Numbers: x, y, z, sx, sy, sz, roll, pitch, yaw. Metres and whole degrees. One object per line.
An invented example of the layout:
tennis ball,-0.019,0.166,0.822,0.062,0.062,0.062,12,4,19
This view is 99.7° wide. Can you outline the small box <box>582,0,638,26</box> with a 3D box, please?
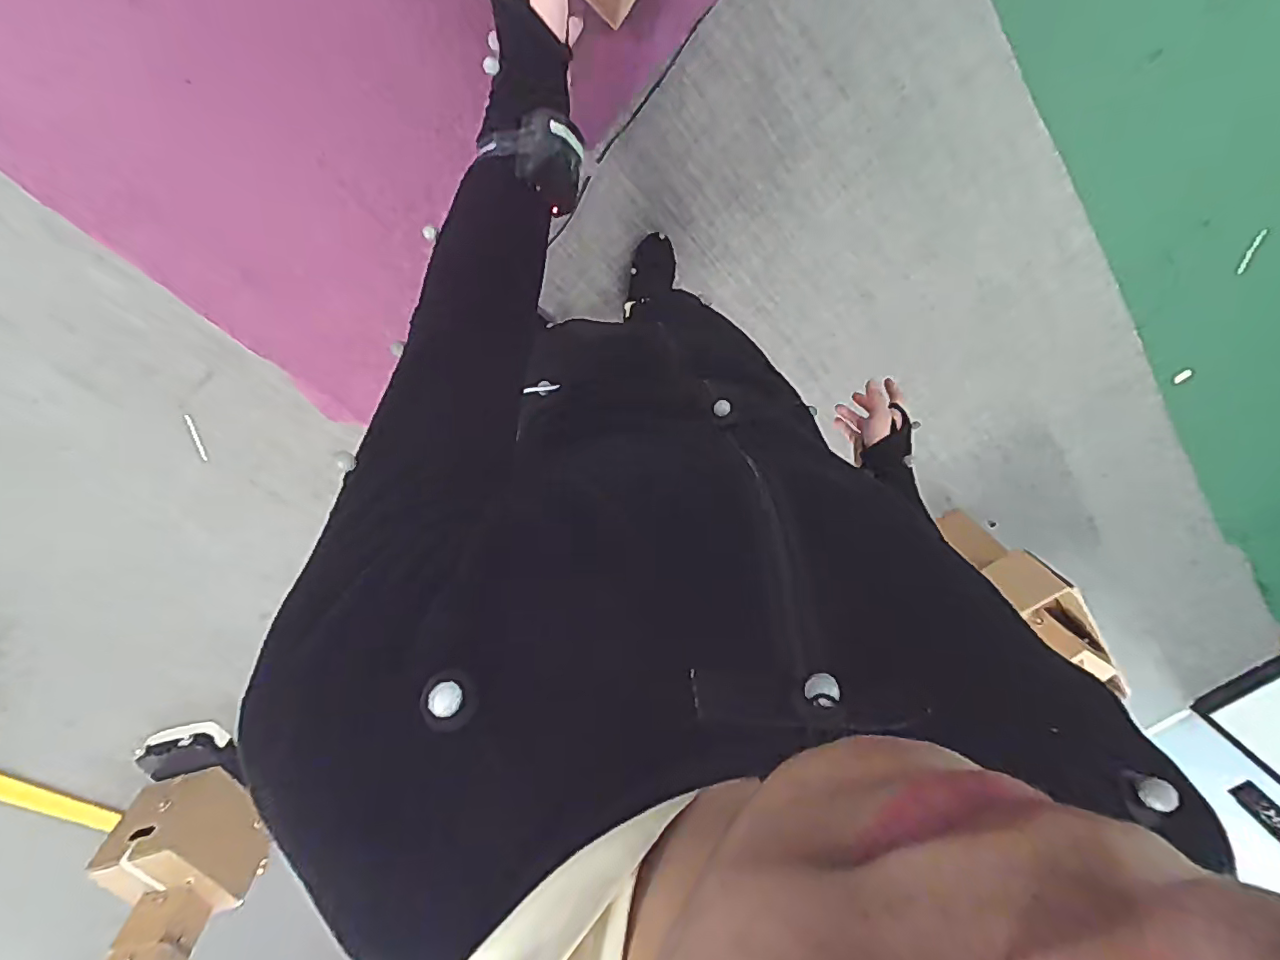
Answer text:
small box,-0.029,-0.582,0.497,0.168,0.176,0.179,34,110,-20
